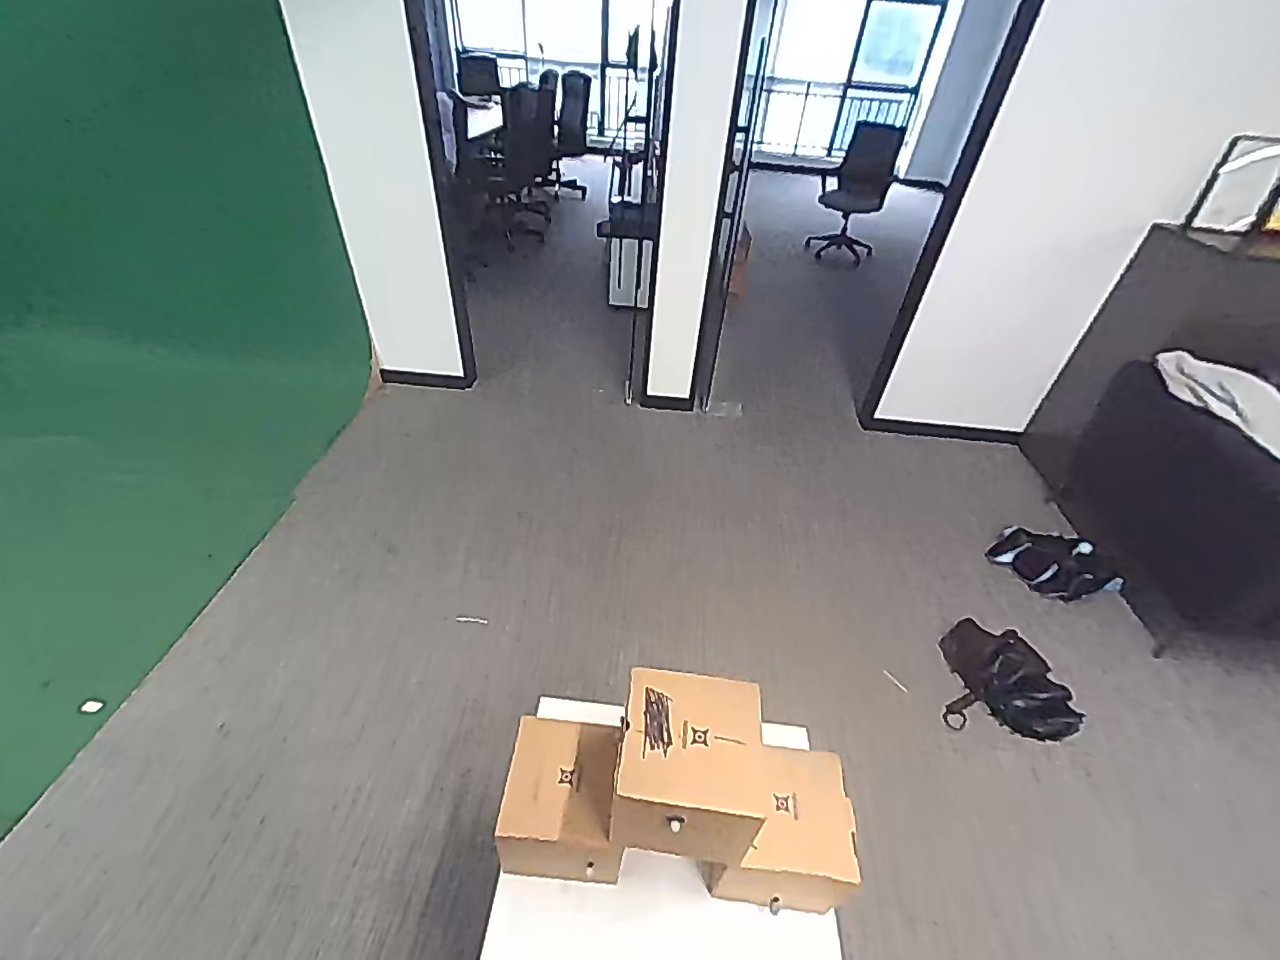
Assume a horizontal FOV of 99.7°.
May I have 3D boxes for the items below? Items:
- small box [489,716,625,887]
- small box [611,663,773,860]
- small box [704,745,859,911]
[{"bbox_3d":[-0.113,0.476,0.799,0.179,0.176,0.168,6,38,-3],"label":"small box"},{"bbox_3d":[0.061,0.367,0.704,0.179,0.176,0.168,9,39,0],"label":"small box"},{"bbox_3d":[0.197,0.517,0.807,0.179,0.176,0.168,7,39,0],"label":"small box"}]
